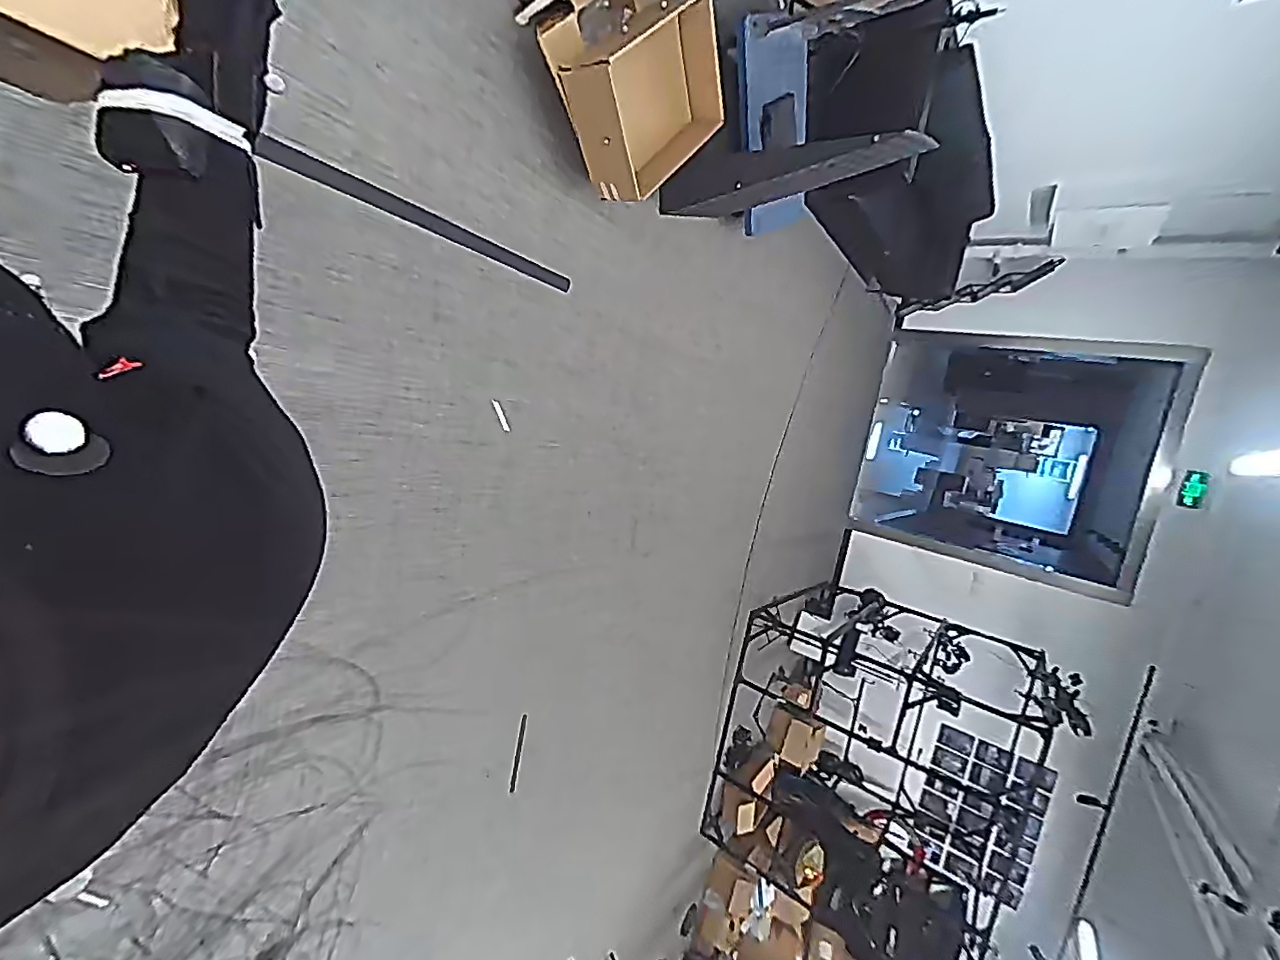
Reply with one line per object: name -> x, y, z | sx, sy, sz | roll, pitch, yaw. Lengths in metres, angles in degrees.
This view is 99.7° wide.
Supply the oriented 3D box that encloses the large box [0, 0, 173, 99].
large box -> -0.530, -0.469, 0.270 | 0.408, 0.320, 0.320 | -1, 110, -57
